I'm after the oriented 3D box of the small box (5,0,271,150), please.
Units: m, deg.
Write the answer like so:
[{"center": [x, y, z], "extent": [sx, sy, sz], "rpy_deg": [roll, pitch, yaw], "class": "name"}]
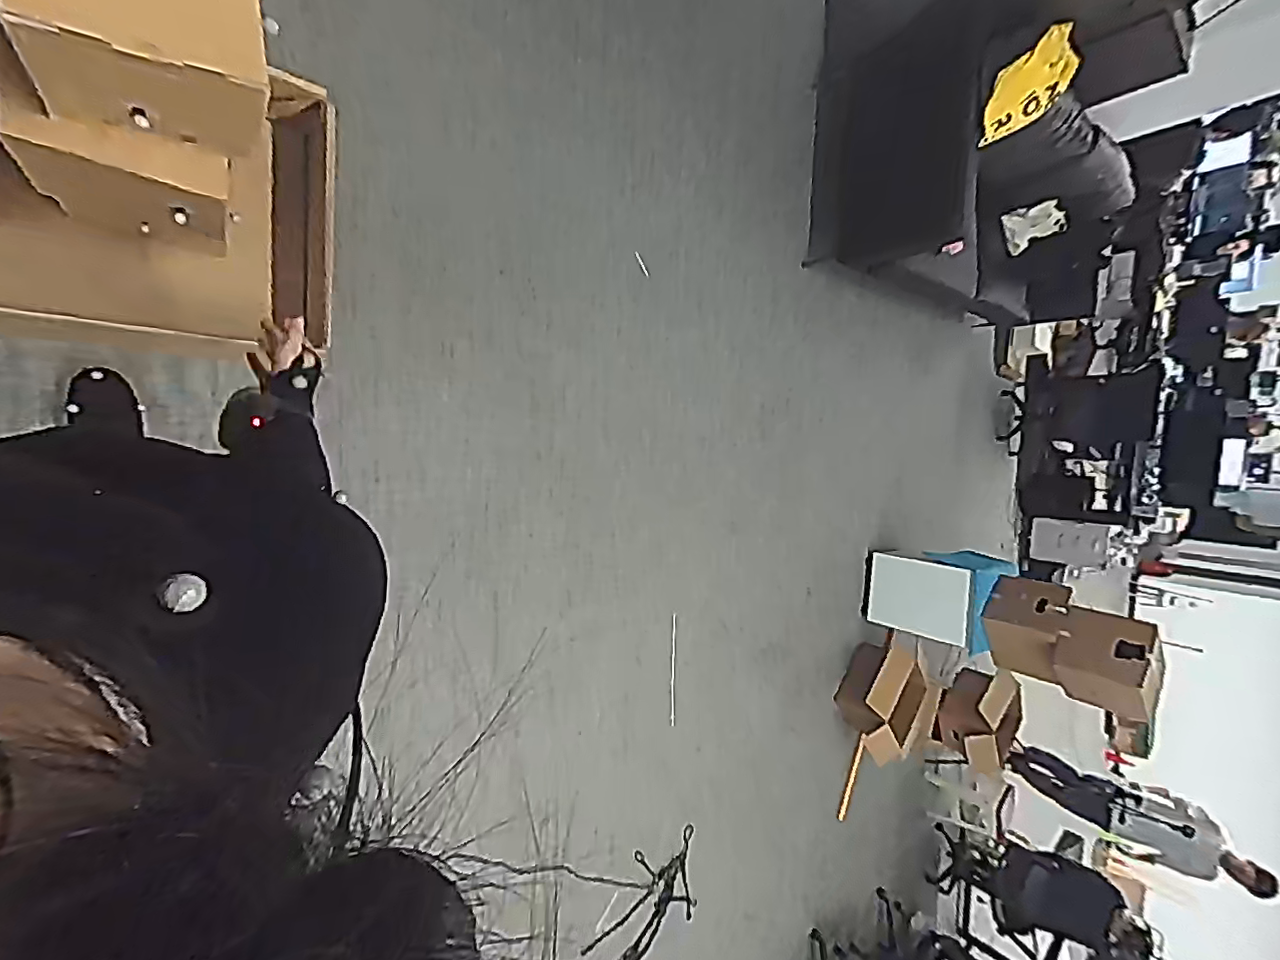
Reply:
[{"center": [-0.444, -0.437, 0.481], "extent": [0.168, 0.176, 0.179], "rpy_deg": [-8, 99, -38], "class": "small box"}]
